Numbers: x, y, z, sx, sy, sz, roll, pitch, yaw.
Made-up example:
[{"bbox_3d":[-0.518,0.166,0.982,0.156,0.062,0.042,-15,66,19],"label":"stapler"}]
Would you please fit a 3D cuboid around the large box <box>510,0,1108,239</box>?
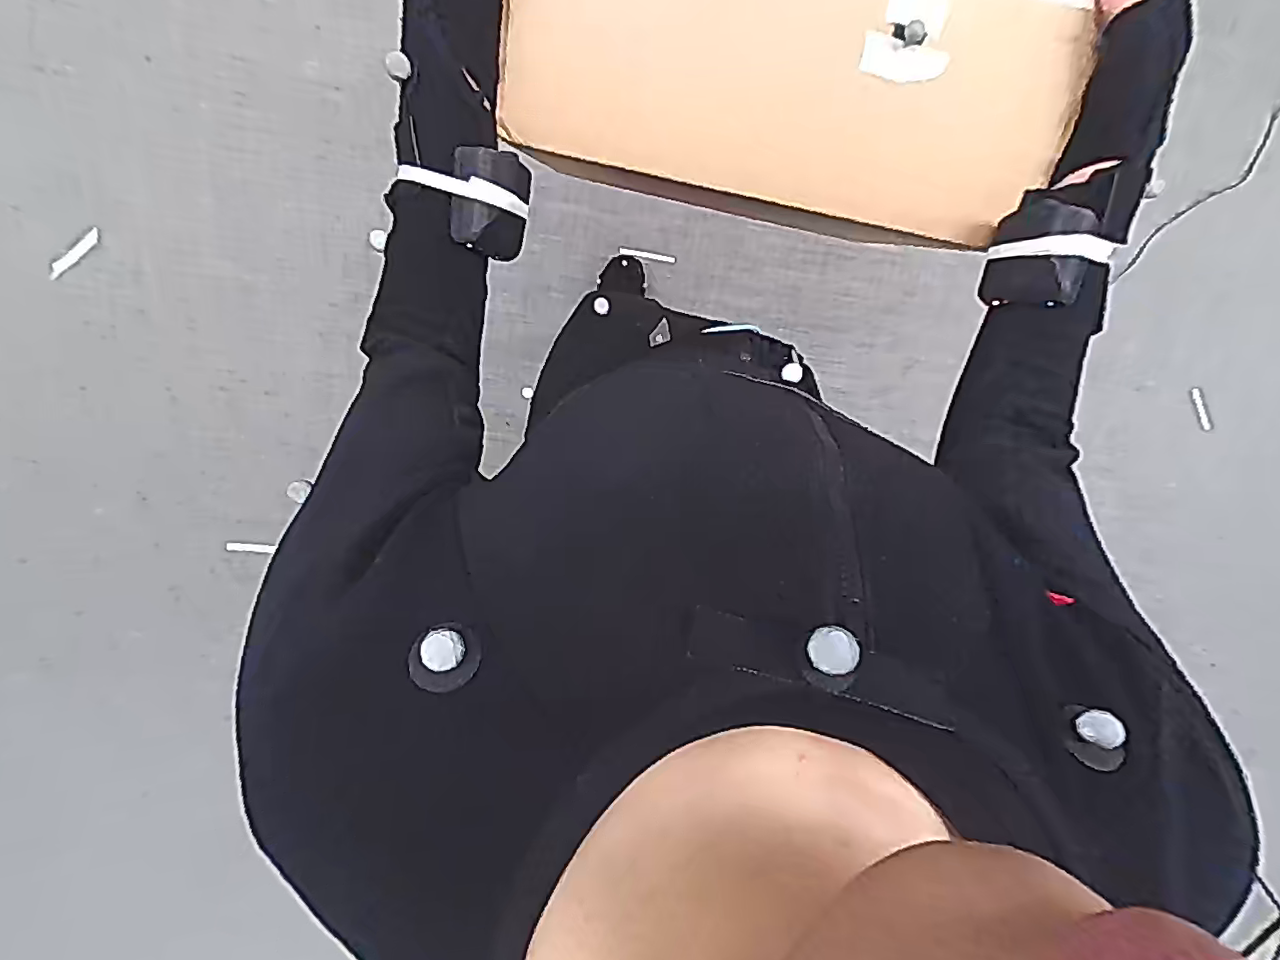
[{"bbox_3d":[0.119,-0.421,0.483,0.408,0.320,0.320,9,117,-6],"label":"large box"}]
